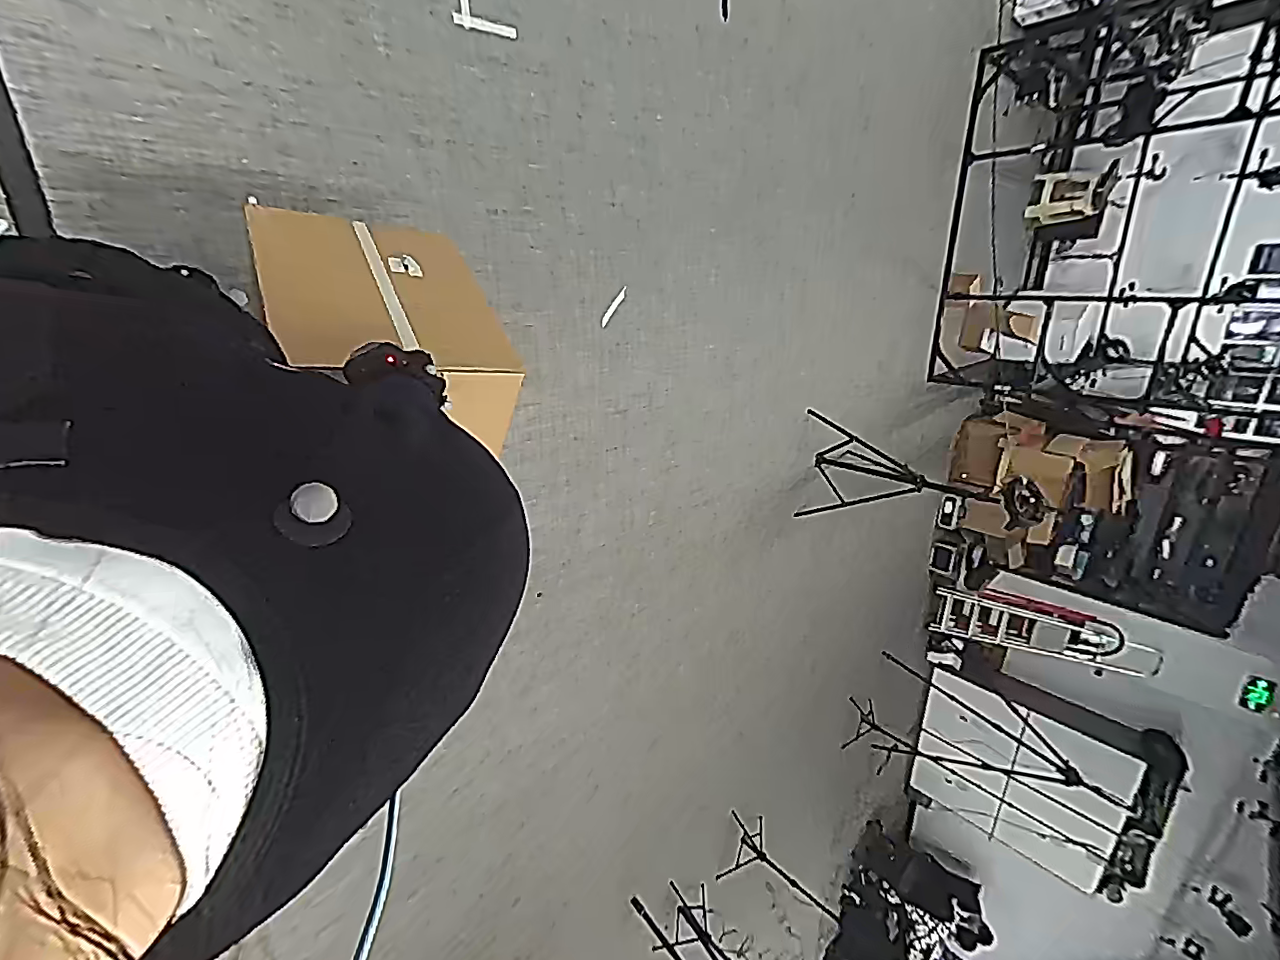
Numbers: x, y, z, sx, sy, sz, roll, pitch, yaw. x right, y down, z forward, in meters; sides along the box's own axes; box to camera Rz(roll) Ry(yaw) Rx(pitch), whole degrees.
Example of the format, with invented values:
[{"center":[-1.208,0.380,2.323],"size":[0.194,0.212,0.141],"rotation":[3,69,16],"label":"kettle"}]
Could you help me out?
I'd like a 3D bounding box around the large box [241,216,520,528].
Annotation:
[{"center":[-0.452,-0.183,0.919],"size":[0.320,0.408,0.320],"rotation":[-7,140,-38],"label":"large box"}]
